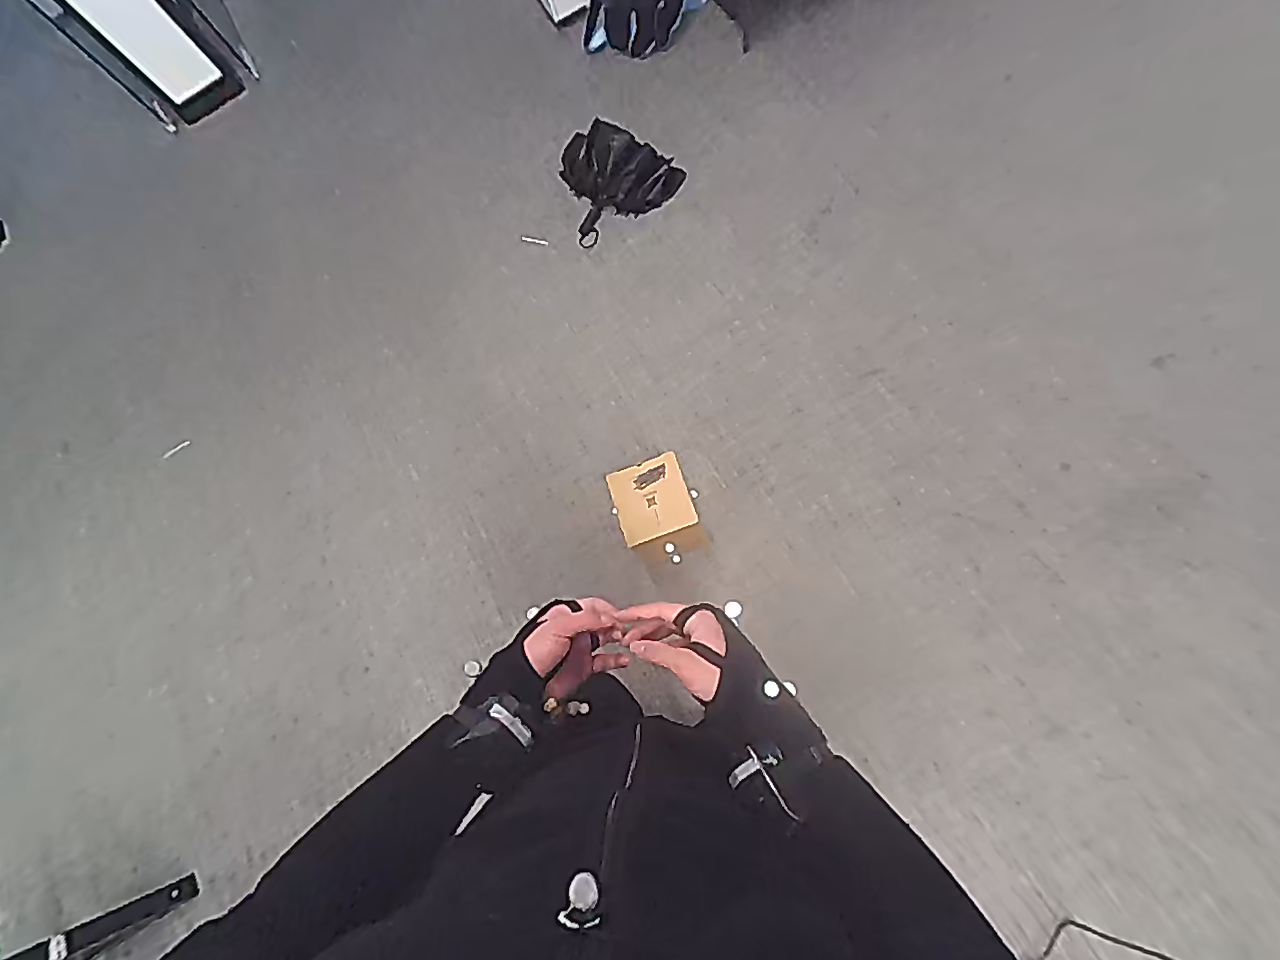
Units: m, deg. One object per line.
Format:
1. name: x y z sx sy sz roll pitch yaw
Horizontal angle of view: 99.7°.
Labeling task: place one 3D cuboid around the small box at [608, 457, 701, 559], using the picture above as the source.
1. small box: 0.038 0.072 1.267 0.168 0.176 0.179 -19 73 5

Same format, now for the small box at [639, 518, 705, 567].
1. small box: 0.065 0.115 1.424 0.168 0.176 0.179 -21 73 5
